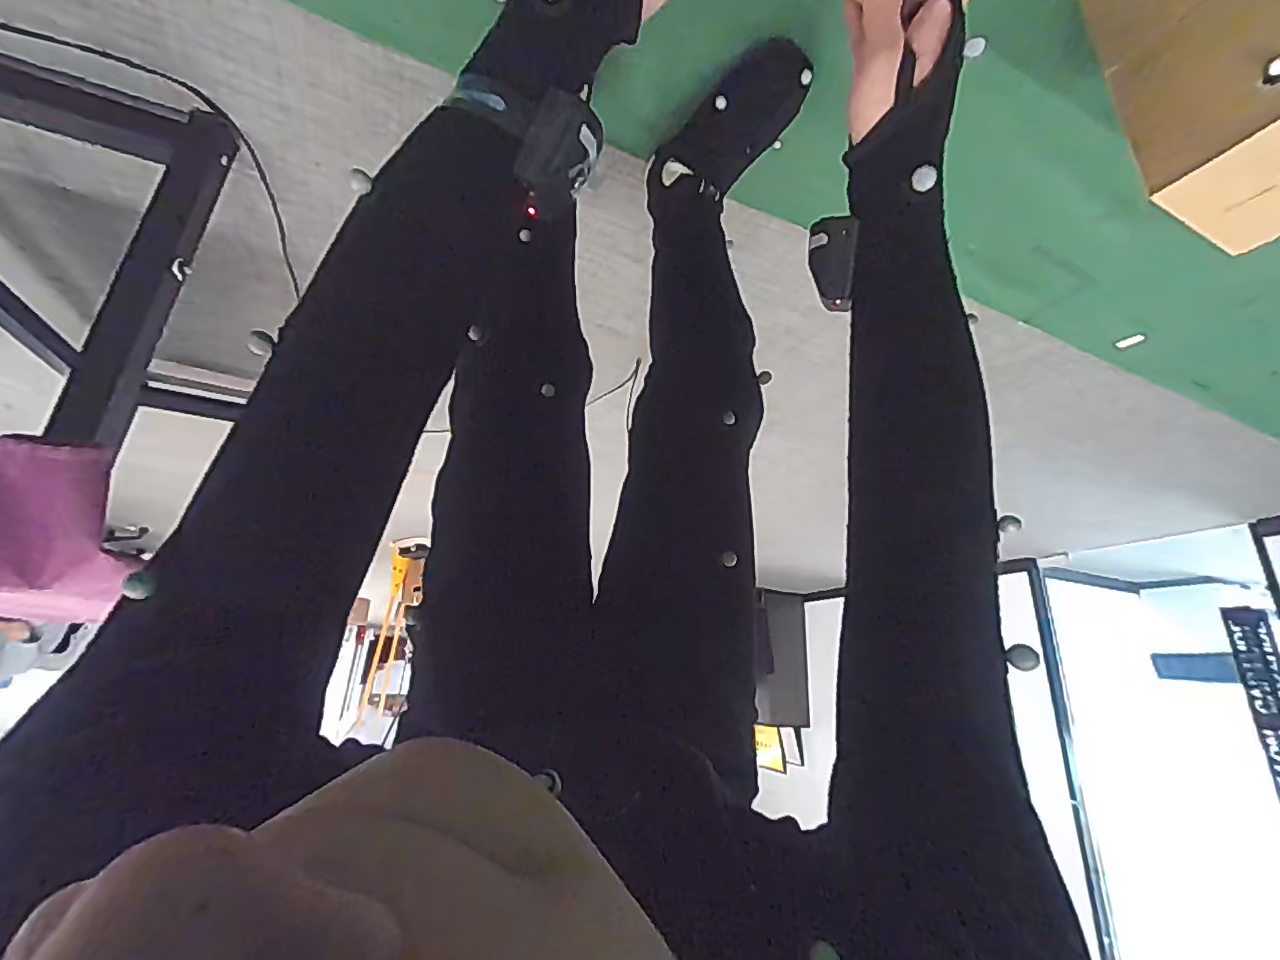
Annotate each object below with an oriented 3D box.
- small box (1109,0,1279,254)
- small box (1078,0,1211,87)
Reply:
[{"bbox_3d":[0.596,-0.358,0.503,0.168,0.176,0.179,12,158,-23],"label":"small box"},{"bbox_3d":[0.602,-0.512,0.560,0.168,0.176,0.179,12,158,-23],"label":"small box"}]
